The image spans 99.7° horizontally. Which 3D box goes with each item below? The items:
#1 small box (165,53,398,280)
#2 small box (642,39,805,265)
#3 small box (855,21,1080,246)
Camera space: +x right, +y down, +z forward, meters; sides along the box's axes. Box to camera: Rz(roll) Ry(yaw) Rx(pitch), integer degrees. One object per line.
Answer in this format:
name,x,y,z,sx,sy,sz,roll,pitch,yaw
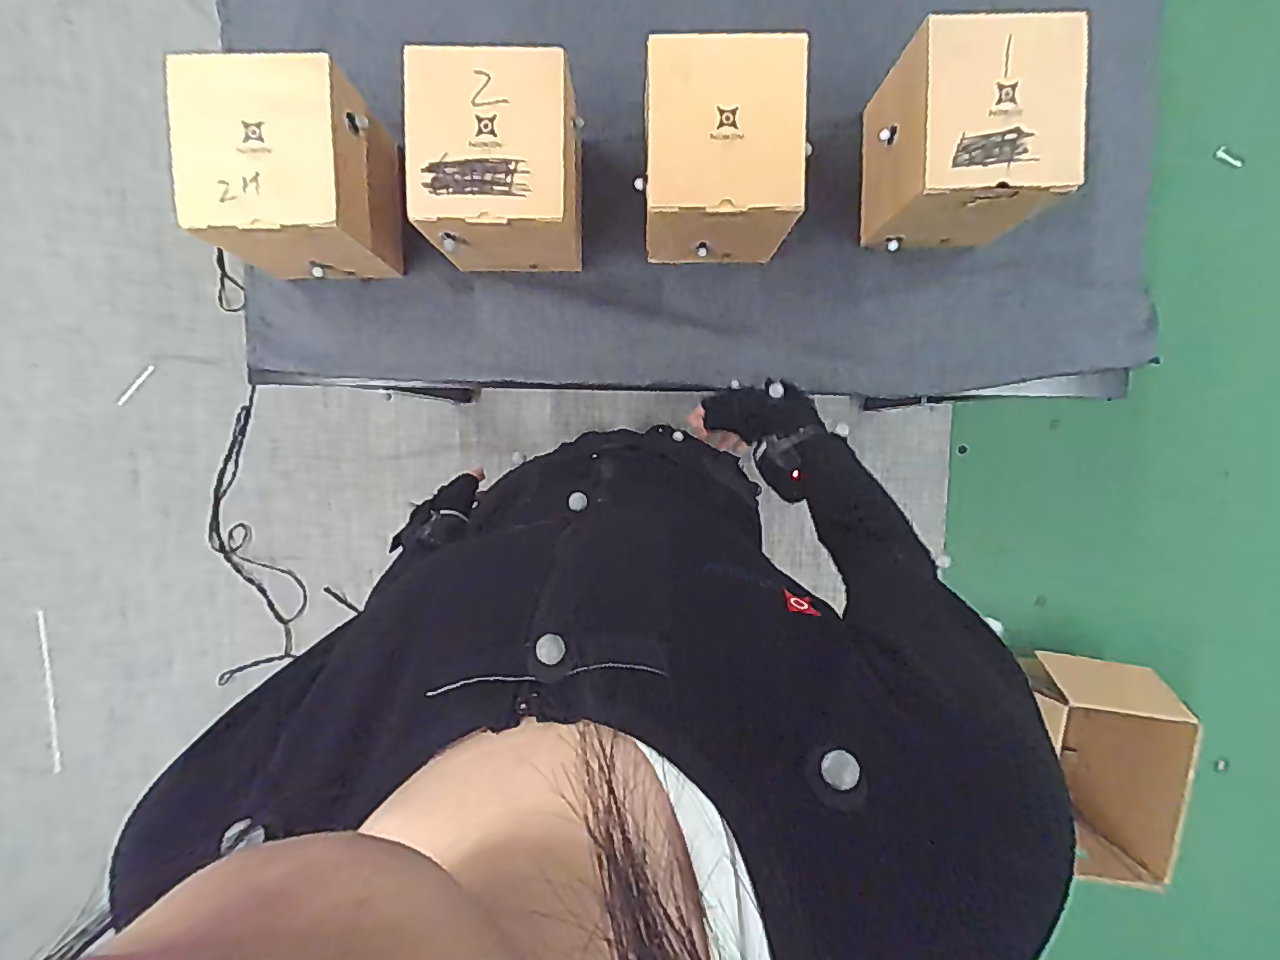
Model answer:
small box,-0.400,-0.349,0.632,0.168,0.176,0.179,-1,93,-2
small box,0.087,-0.373,0.643,0.168,0.176,0.179,-1,95,-1
small box,0.370,-0.391,0.641,0.168,0.176,0.179,-1,94,-1
